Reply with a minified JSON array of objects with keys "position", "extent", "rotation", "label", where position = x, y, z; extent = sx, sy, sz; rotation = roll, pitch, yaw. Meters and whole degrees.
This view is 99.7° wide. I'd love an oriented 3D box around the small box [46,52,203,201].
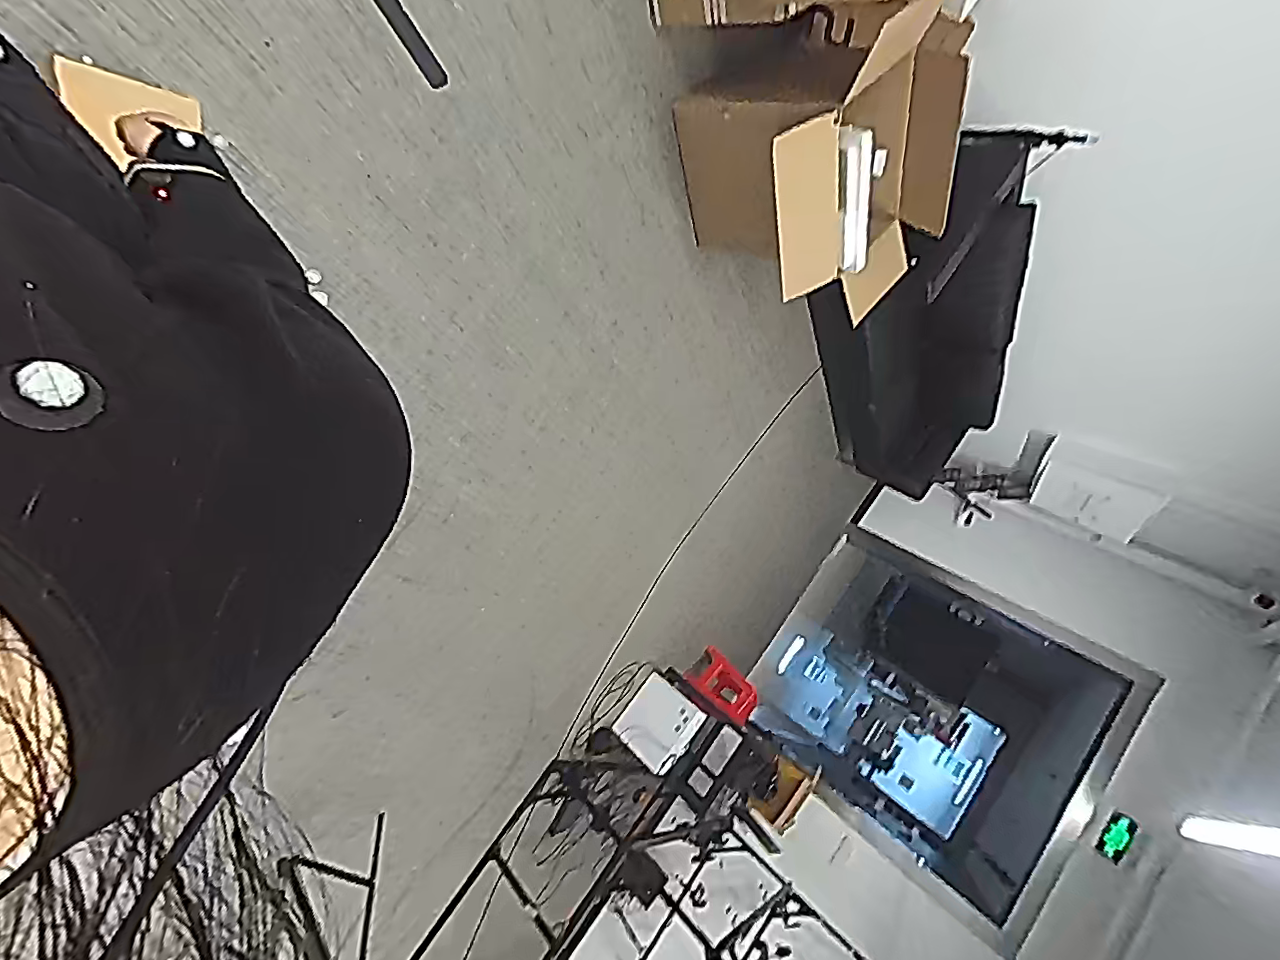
[{"position":[-0.887,-0.601,0.932],"extent":[0.179,0.176,0.168],"rotation":[-11,124,-48],"label":"small box"}]
